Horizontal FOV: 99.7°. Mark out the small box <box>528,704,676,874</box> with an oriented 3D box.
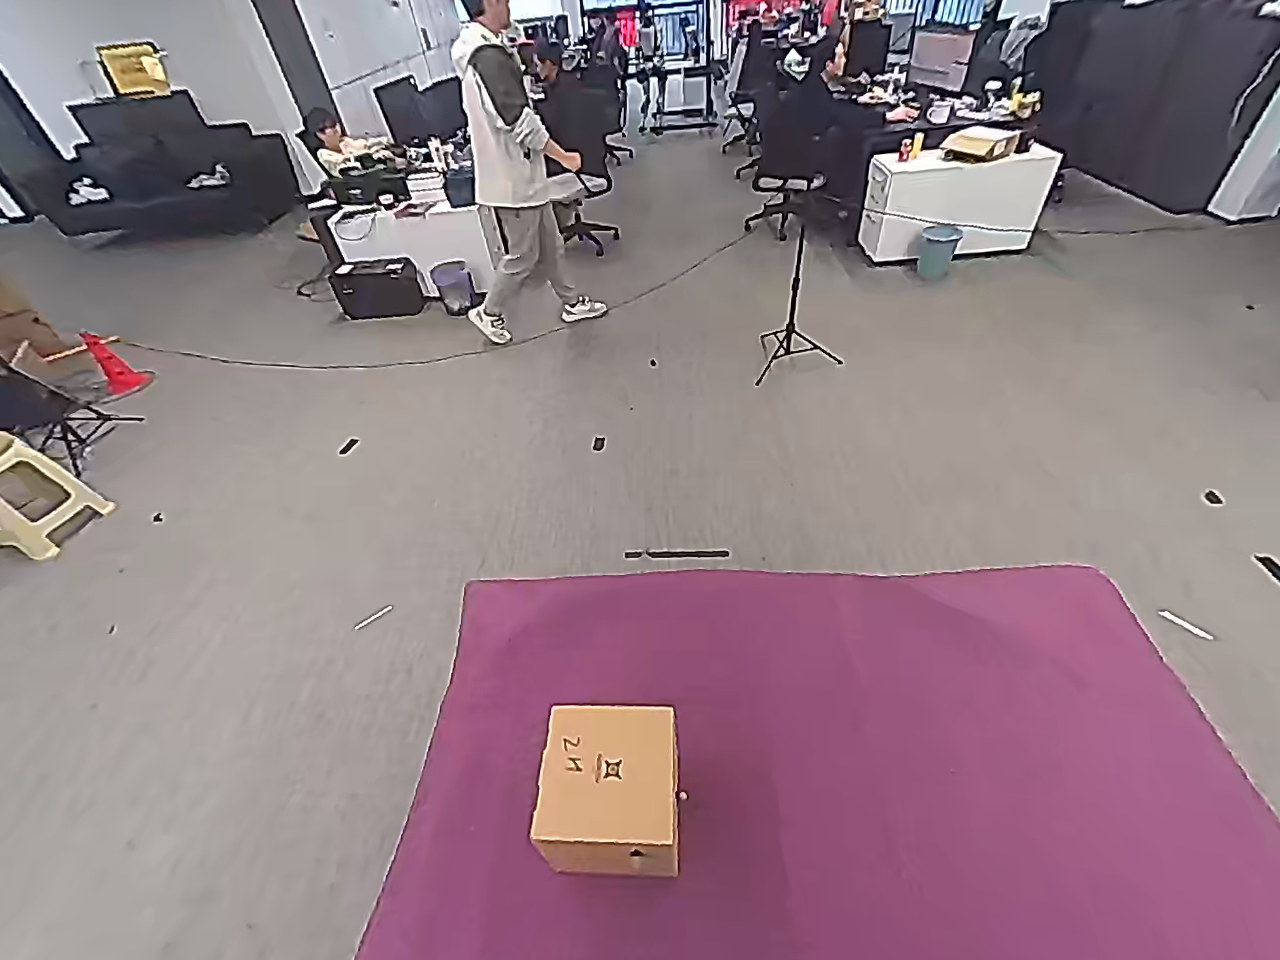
[{"bbox_3d":[-0.039,0.431,0.754,0.179,0.176,0.168,-1,43,5],"label":"small box"}]
